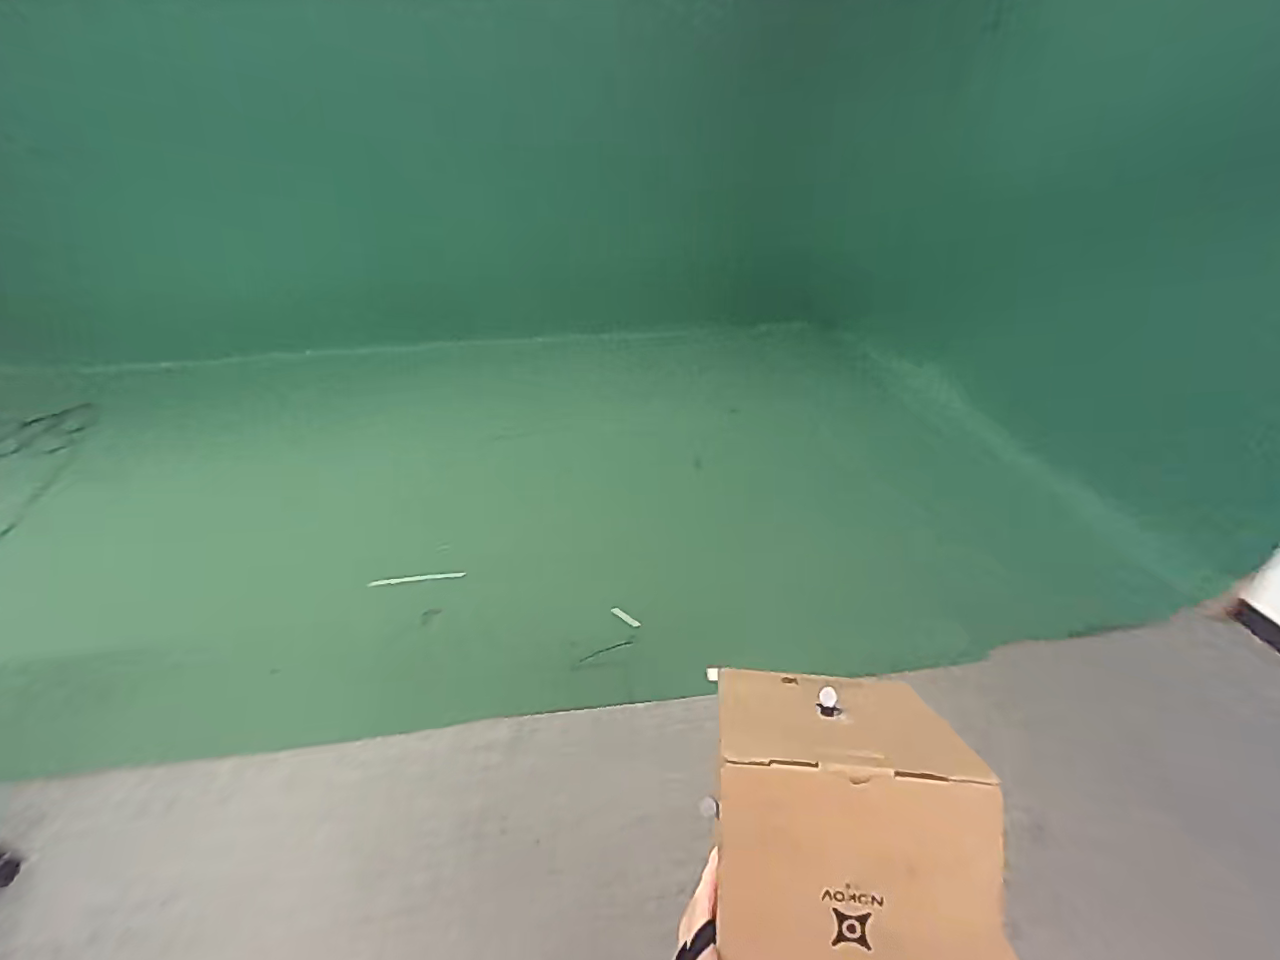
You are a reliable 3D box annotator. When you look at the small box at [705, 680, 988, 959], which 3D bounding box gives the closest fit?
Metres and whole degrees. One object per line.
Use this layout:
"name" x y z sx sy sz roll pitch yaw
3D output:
"small box" 0.134 0.266 0.409 0.168 0.179 0.176 1 -1 8
